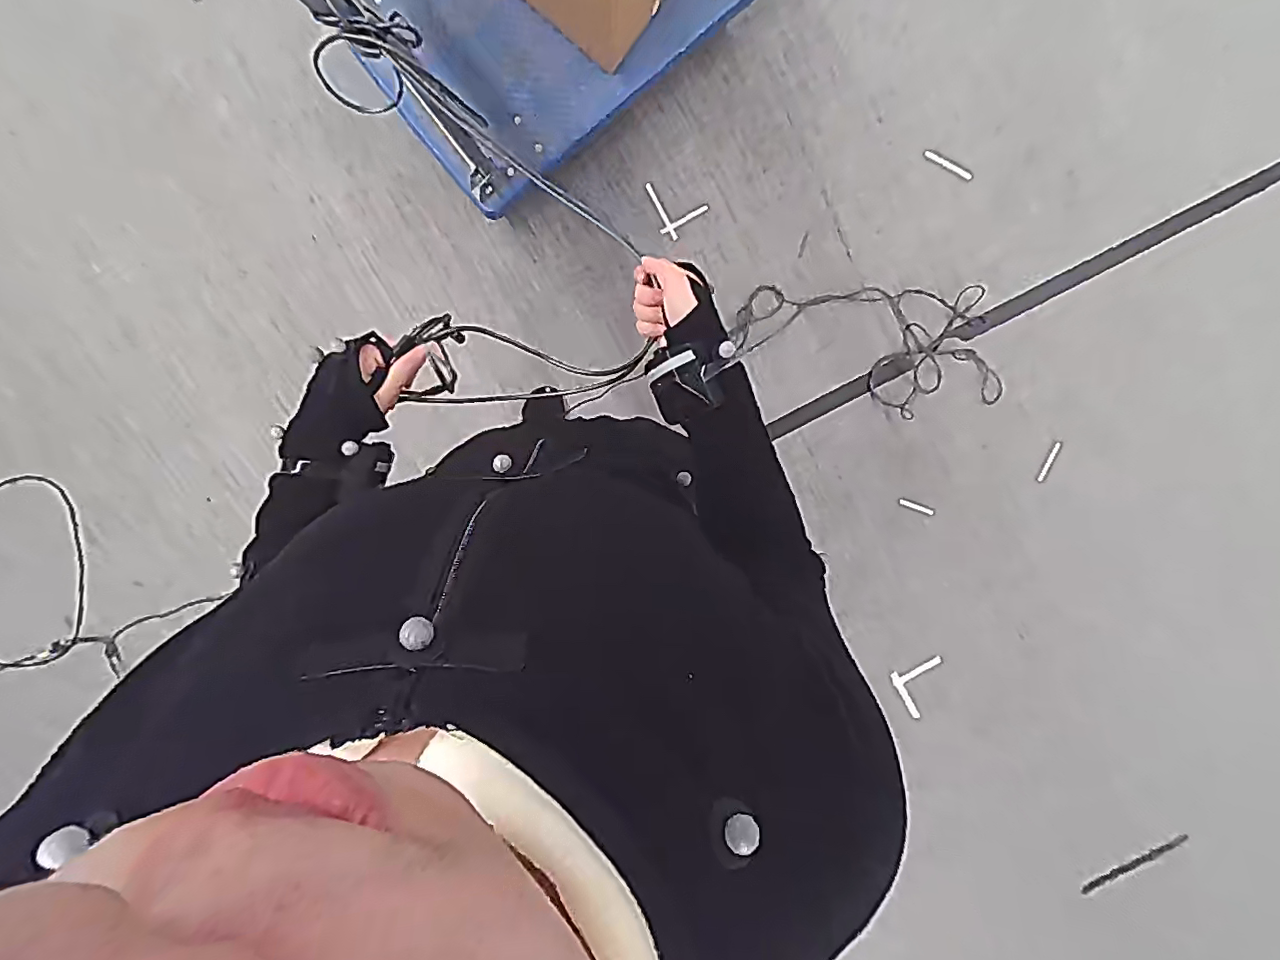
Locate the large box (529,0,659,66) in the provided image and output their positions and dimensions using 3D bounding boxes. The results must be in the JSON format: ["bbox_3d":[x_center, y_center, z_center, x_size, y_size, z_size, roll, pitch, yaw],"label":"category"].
[{"bbox_3d":[-0.123,-1.089,0.971,0.408,0.320,0.320,36,97,-9],"label":"large box"}]
